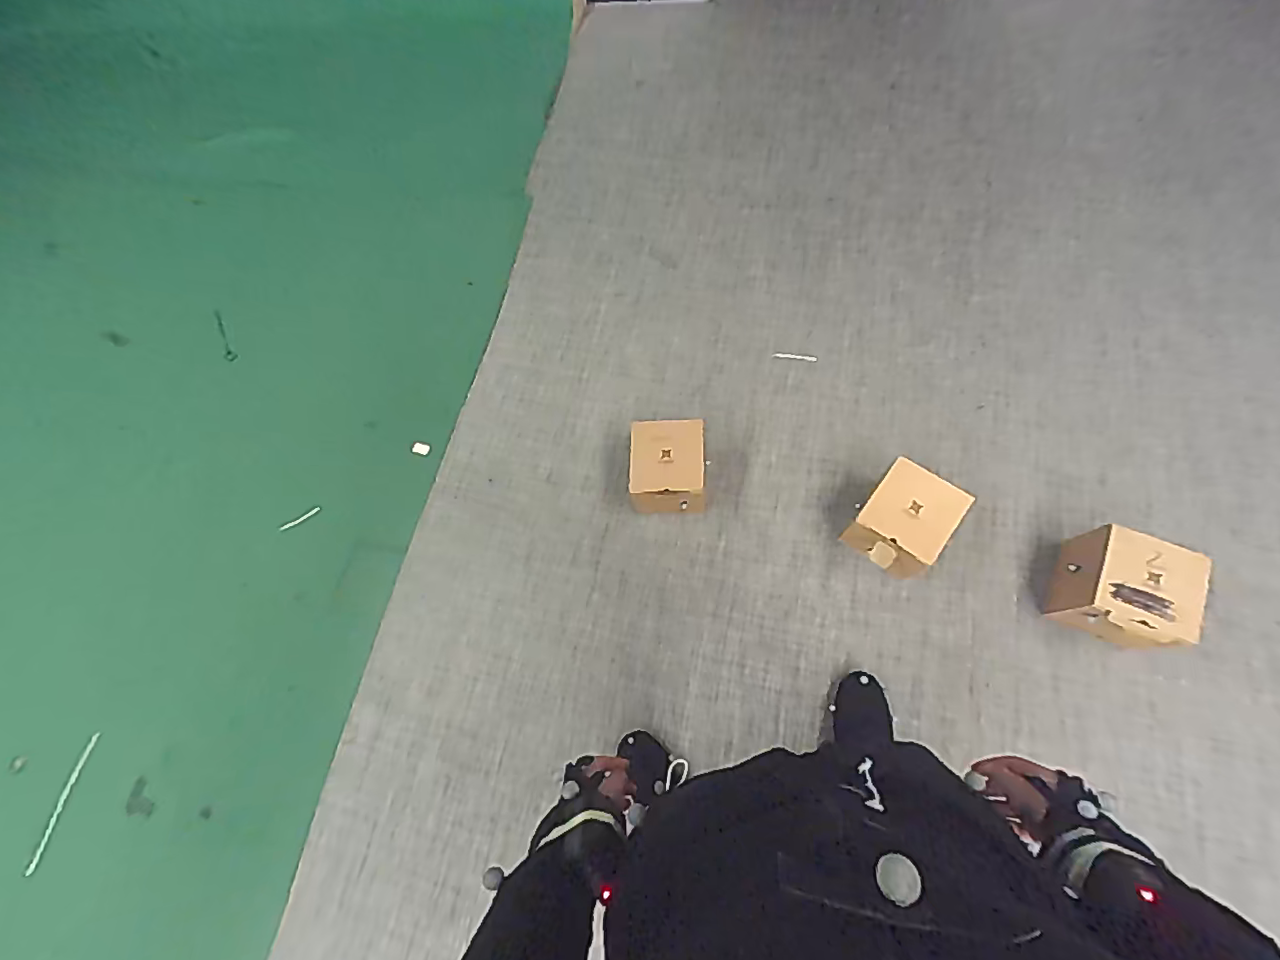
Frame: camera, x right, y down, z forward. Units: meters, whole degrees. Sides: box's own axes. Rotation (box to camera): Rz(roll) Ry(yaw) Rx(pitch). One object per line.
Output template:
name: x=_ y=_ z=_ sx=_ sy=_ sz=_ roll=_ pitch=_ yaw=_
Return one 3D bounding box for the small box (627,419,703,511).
small box: x=0.064 y=-0.028 z=1.269 sx=0.168 sy=0.176 sz=0.179 roll=-1 pitch=69 yaw=6

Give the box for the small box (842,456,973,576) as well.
small box: x=0.560 y=0.083 z=1.158 sx=0.168 sy=0.176 sz=0.179 roll=35 pitch=80 yaw=17
